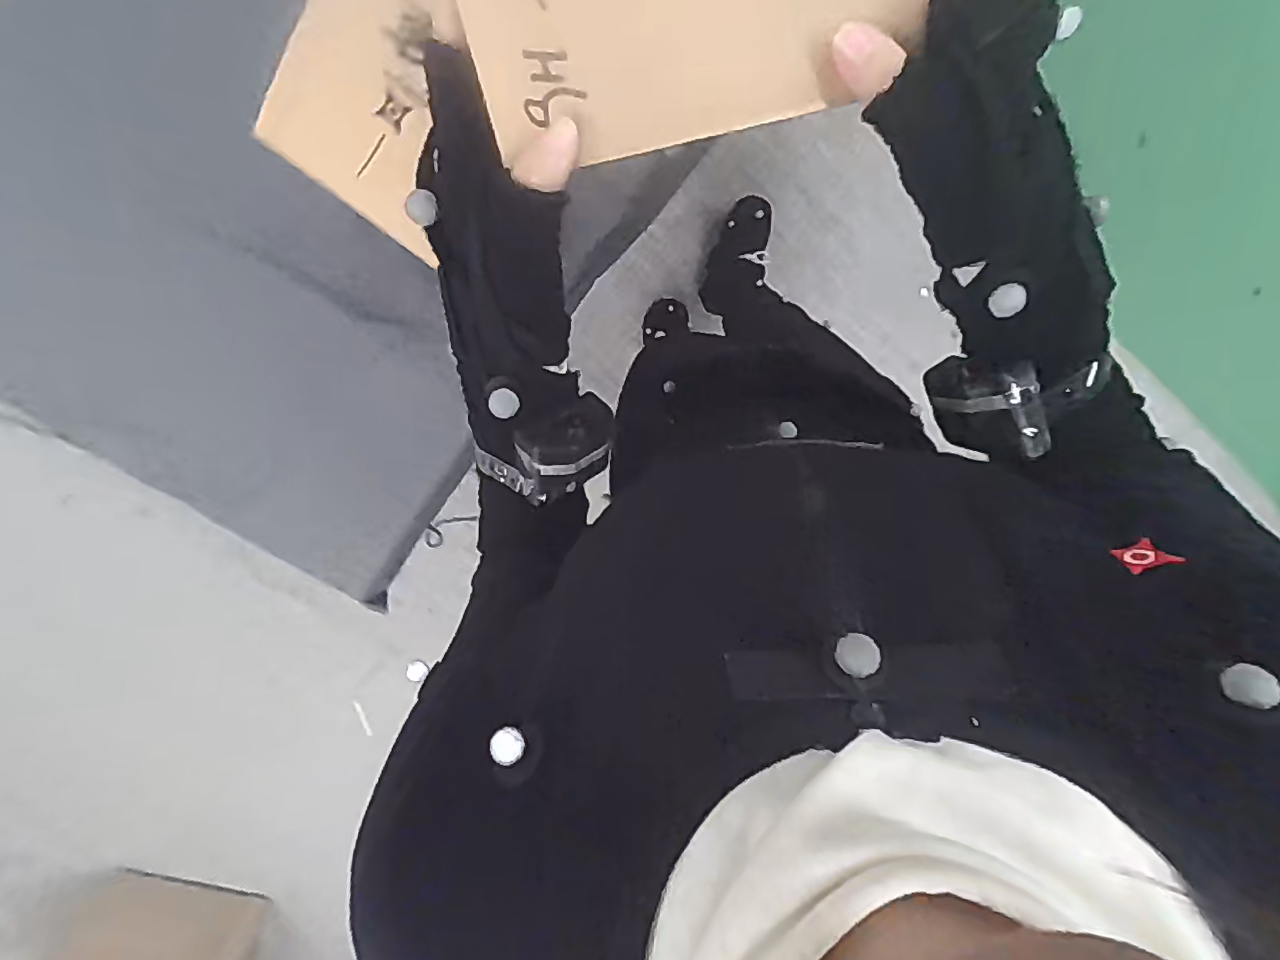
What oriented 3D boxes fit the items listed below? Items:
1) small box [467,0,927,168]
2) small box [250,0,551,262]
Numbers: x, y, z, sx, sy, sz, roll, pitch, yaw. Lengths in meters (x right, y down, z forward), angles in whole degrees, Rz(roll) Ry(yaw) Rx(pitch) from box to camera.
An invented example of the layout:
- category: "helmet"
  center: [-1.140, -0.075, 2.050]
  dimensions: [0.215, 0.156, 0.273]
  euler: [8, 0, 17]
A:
- category: "small box"
  center: [0.010, -0.255, 0.241]
  dimensions: [0.179, 0.176, 0.168]
  euler: [-10, 126, 1]
- category: "small box"
  center: [-0.183, -0.322, 0.484]
  dimensions: [0.168, 0.176, 0.179]
  euler: [39, 106, -12]
